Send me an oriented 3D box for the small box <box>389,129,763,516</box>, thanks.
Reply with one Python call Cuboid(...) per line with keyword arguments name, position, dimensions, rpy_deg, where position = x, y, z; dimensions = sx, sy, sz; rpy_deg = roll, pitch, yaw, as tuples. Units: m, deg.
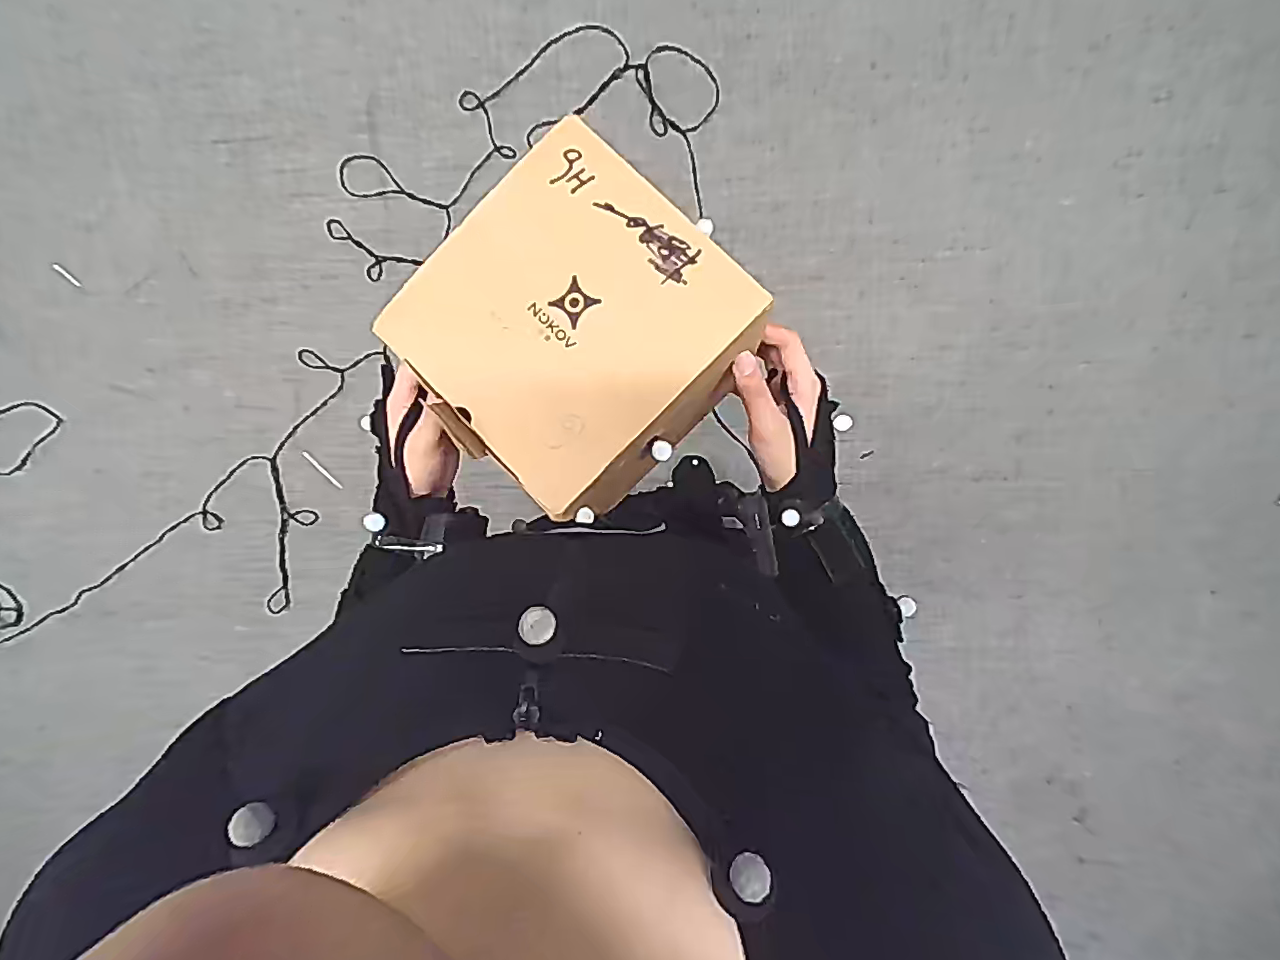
Cuboid(name="small box", position=(-0.032, -0.092, 0.400), dimensions=(0.168, 0.176, 0.179), rpy_deg=(45, 95, 6))
